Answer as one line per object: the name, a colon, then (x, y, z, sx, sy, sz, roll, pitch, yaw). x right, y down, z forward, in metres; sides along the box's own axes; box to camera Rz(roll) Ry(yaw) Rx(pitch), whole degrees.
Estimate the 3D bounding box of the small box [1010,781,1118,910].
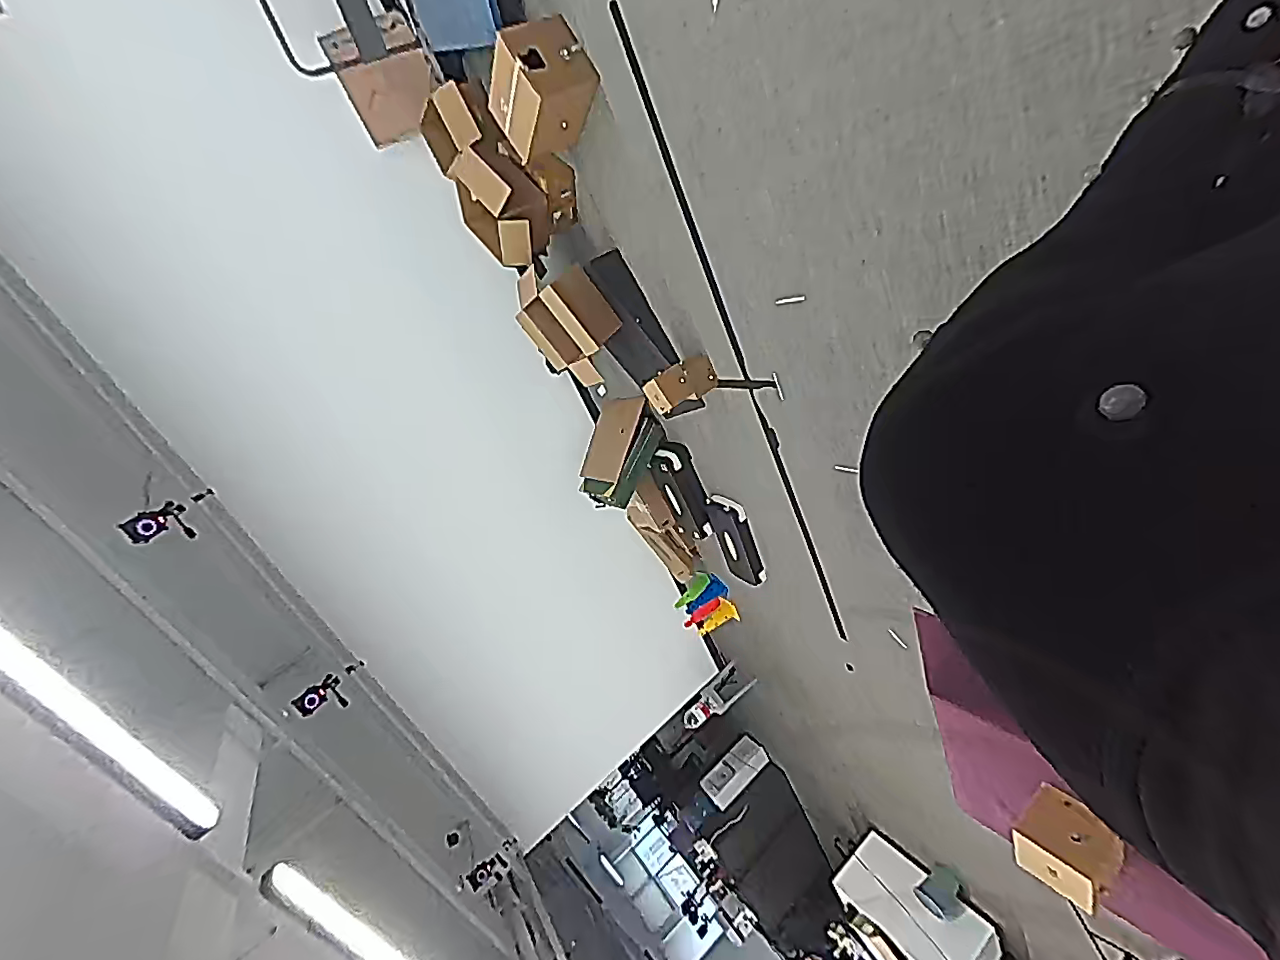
small box: (1.059, 0.902, 1.351, 0.168, 0.176, 0.179, 20, 142, 55)
